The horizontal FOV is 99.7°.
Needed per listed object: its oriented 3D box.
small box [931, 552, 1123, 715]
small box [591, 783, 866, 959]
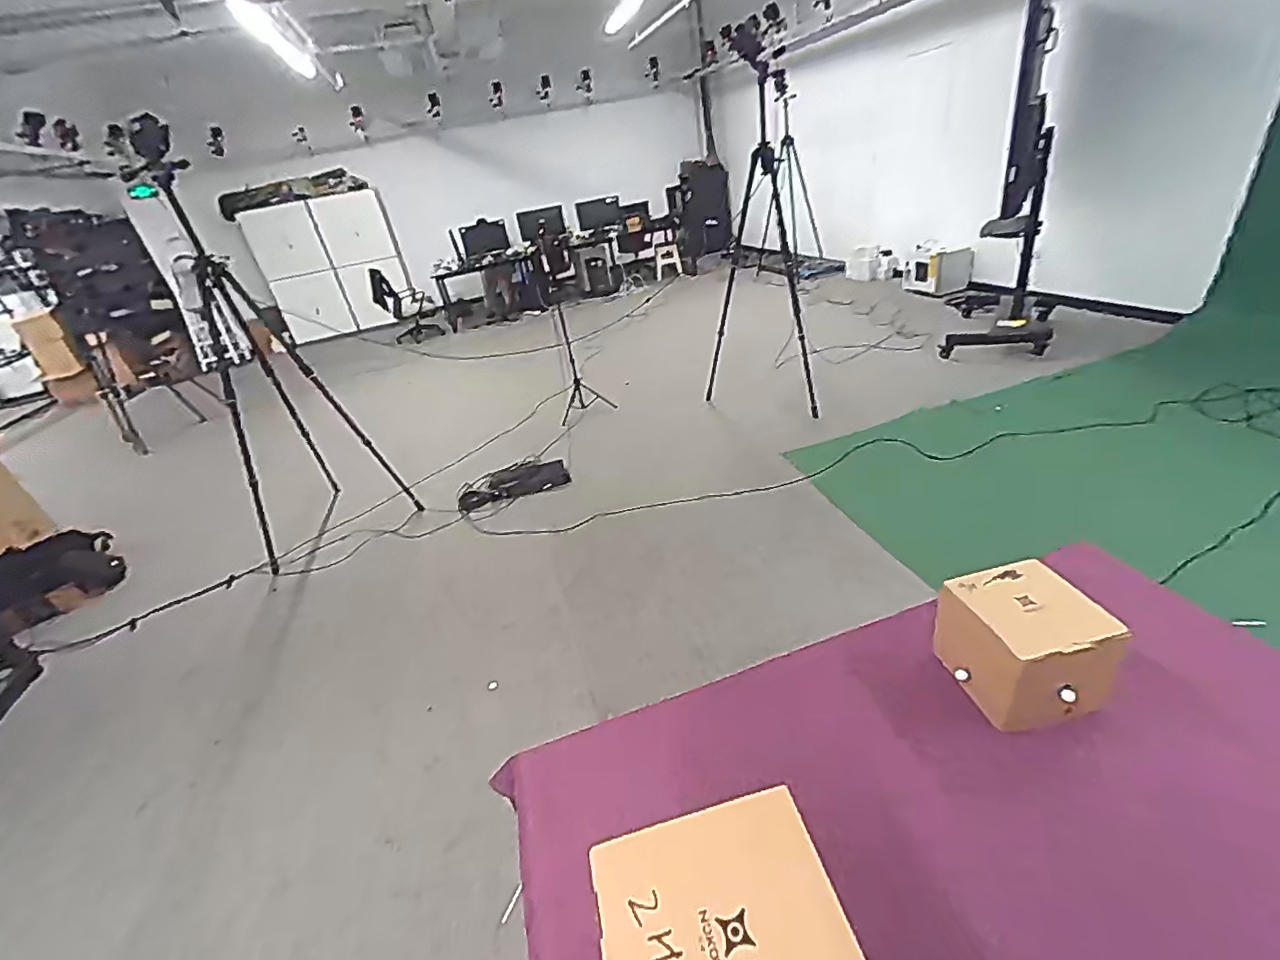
[{"bbox_3d":[0.596,0.247,0.860,0.168,0.176,0.179,-13,31,-3],"label":"small box"},{"bbox_3d":[0.071,0.386,0.432,0.179,0.176,0.168,-15,34,-5],"label":"small box"}]
